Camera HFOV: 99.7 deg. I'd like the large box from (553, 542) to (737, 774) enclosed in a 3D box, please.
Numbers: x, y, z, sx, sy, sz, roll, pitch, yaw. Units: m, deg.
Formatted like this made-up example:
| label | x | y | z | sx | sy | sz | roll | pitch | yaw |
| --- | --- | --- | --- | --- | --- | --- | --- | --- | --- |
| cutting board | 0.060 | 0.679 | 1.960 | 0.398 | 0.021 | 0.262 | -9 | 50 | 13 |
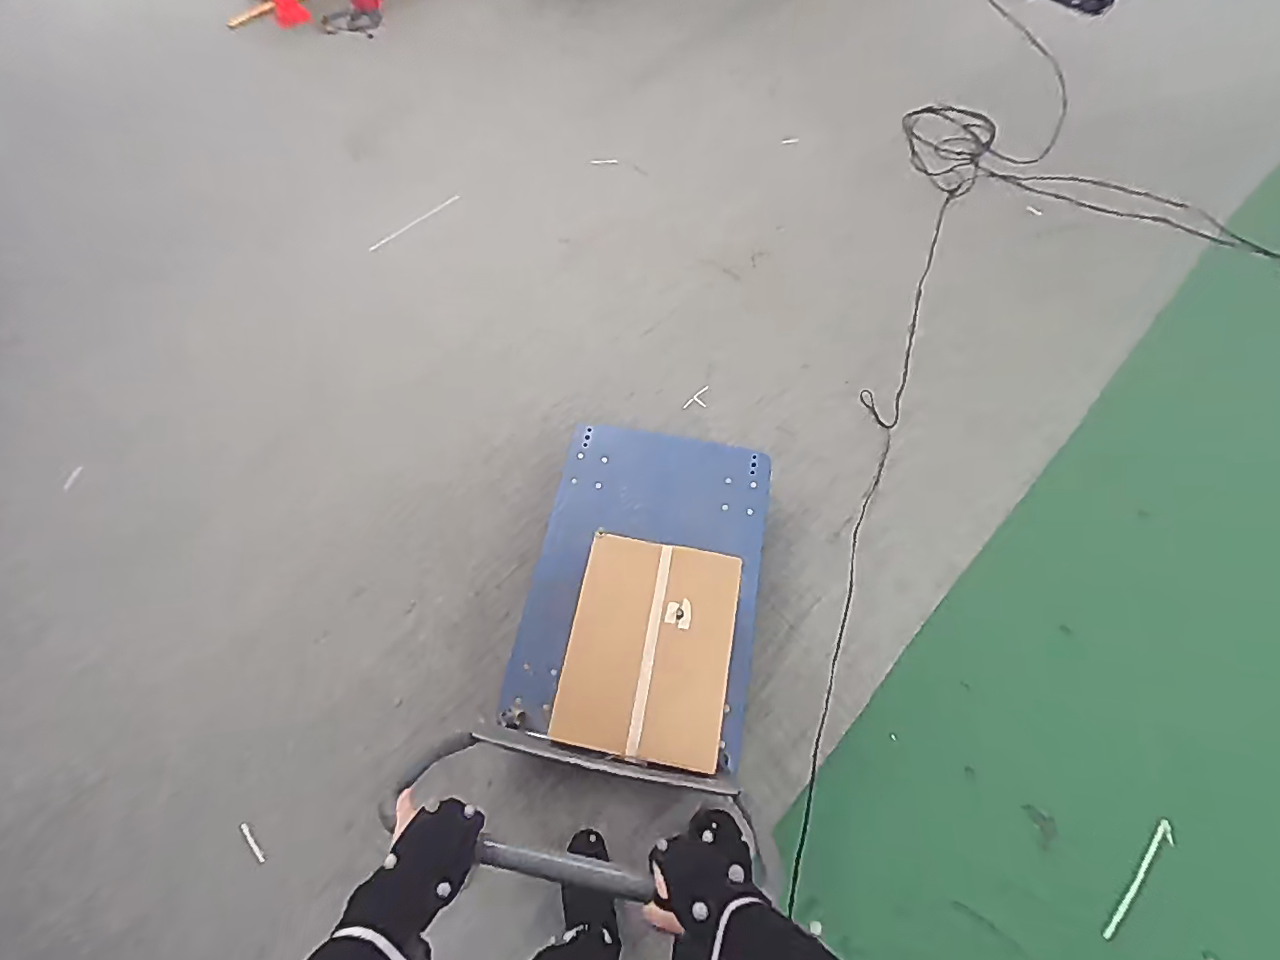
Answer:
| label | x | y | z | sx | sy | sz | roll | pitch | yaw |
| --- | --- | --- | --- | --- | --- | --- | --- | --- | --- |
| large box | 0.023 | 0.396 | 1.203 | 0.320 | 0.320 | 0.408 | 10 | 66 | 5 |
